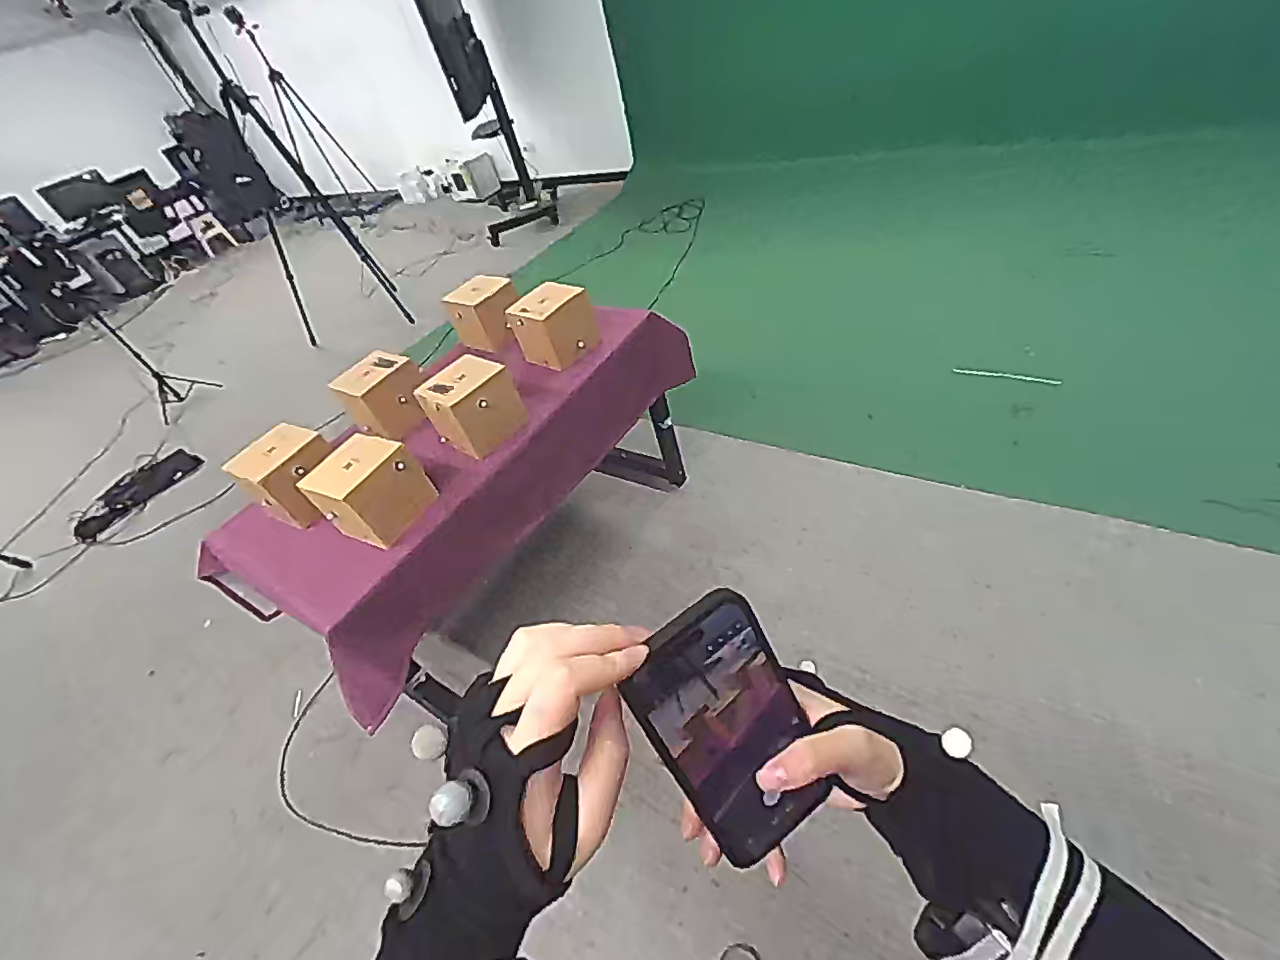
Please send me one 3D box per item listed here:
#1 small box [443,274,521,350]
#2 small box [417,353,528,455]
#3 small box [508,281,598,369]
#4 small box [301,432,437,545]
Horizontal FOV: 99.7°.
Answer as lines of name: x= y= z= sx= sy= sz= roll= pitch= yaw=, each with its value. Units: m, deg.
small box: x=-0.487 y=-0.537 z=1.729 sx=0.179 sy=0.176 sz=0.168 roll=21 pitch=56 yaw=33
small box: x=-0.411 y=-0.189 z=1.351 sx=0.168 sy=0.176 sz=0.179 roll=23 pitch=56 yaw=35
small box: x=-0.241 y=-0.447 z=1.556 sx=0.168 sy=0.176 sz=0.179 roll=24 pitch=57 yaw=36
small box: x=-0.590 y=0.019 z=1.201 sx=0.168 sy=0.176 sz=0.179 roll=11 pitch=49 yaw=28
